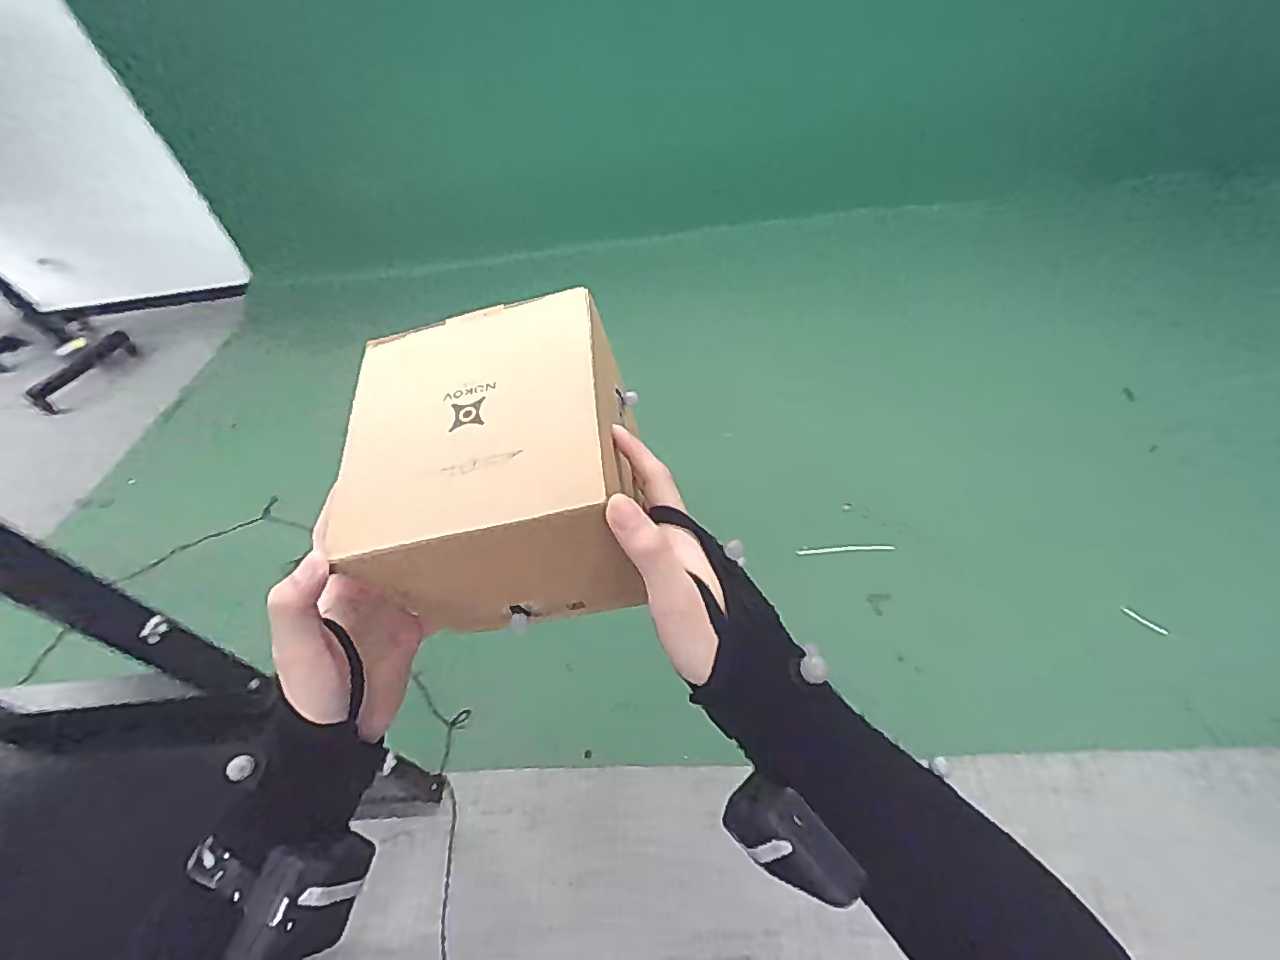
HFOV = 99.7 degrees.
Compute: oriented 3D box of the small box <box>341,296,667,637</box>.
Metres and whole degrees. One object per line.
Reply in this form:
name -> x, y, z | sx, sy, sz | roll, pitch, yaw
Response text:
small box -> -0.080, 0.000, 0.403 | 0.168, 0.176, 0.179 | -11, 58, 7
